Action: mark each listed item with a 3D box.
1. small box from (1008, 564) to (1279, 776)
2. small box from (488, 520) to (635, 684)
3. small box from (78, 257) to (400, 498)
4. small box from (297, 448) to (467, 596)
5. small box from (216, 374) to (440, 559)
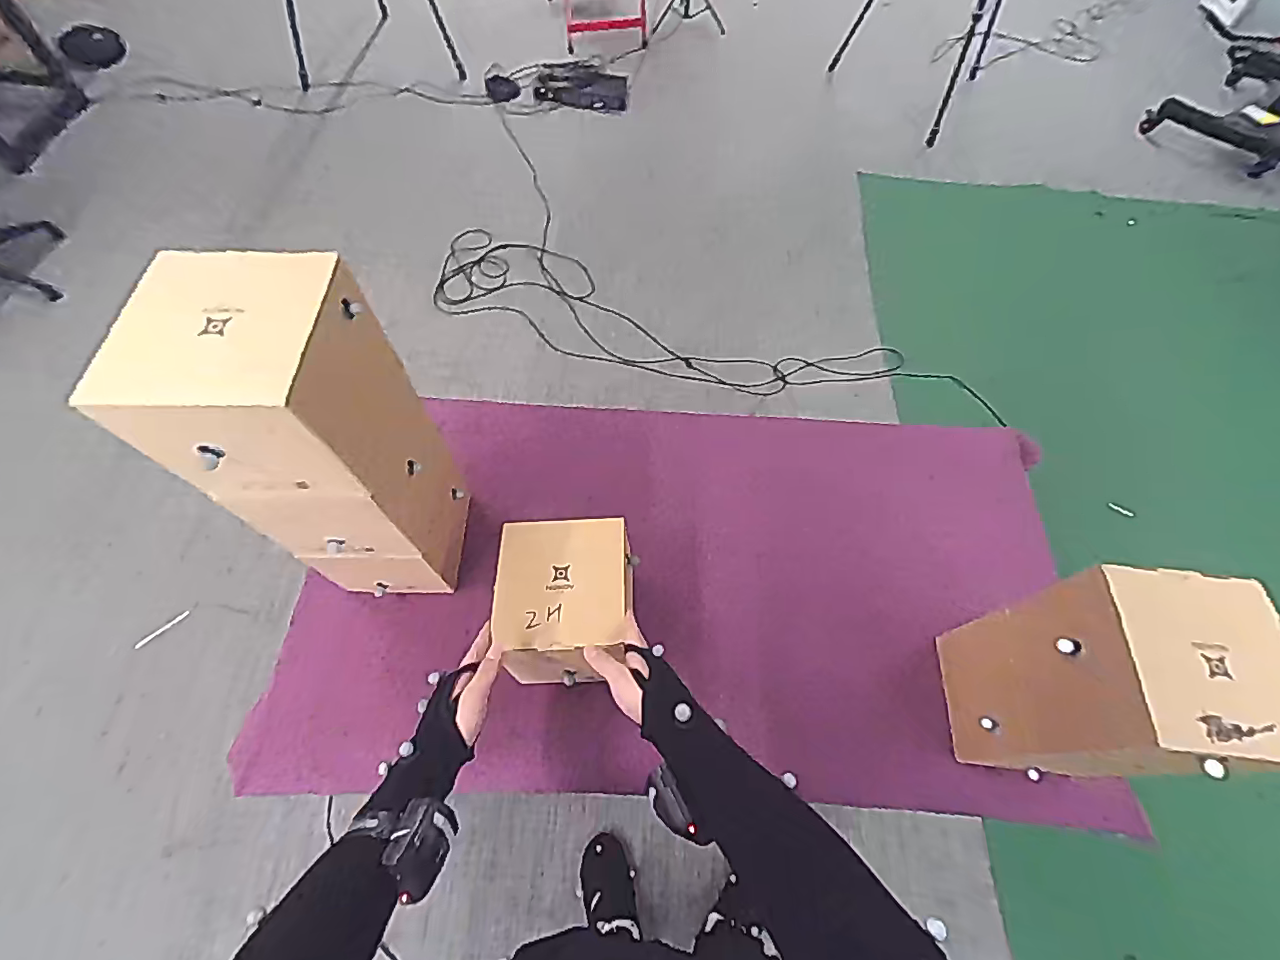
[{"bbox_3d":[0.539,0.210,0.583,0.168,0.176,0.179,6,60,2],"label":"small box"},{"bbox_3d":[-0.096,0.172,0.750,0.168,0.176,0.179,-3,57,3],"label":"small box"},{"bbox_3d":[-0.358,-0.091,0.530,0.168,0.176,0.179,0,61,-1],"label":"small box"},{"bbox_3d":[-0.369,0.065,0.815,0.168,0.176,0.179,1,62,-1],"label":"small box"},{"bbox_3d":[-0.362,-0.014,0.672,0.168,0.176,0.179,0,62,-1],"label":"small box"}]
